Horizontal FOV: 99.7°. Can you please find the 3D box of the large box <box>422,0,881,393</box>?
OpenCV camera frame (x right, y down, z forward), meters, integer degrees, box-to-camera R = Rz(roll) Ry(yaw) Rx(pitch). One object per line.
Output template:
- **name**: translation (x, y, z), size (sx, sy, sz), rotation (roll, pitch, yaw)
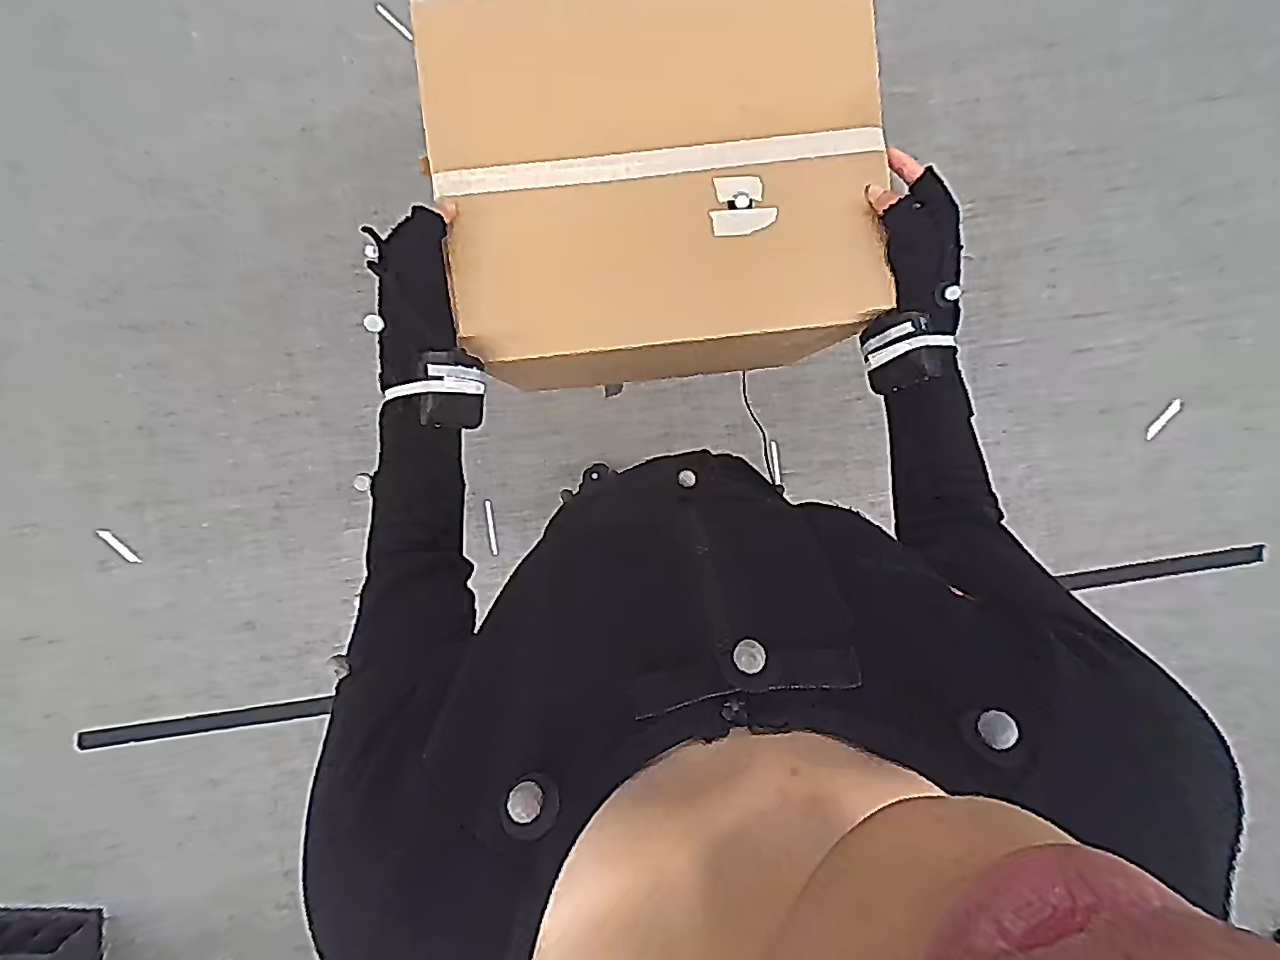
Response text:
- **large box**: translation (0.010, -0.296, 0.650), size (0.408, 0.320, 0.320), rotation (-7, 95, -2)
